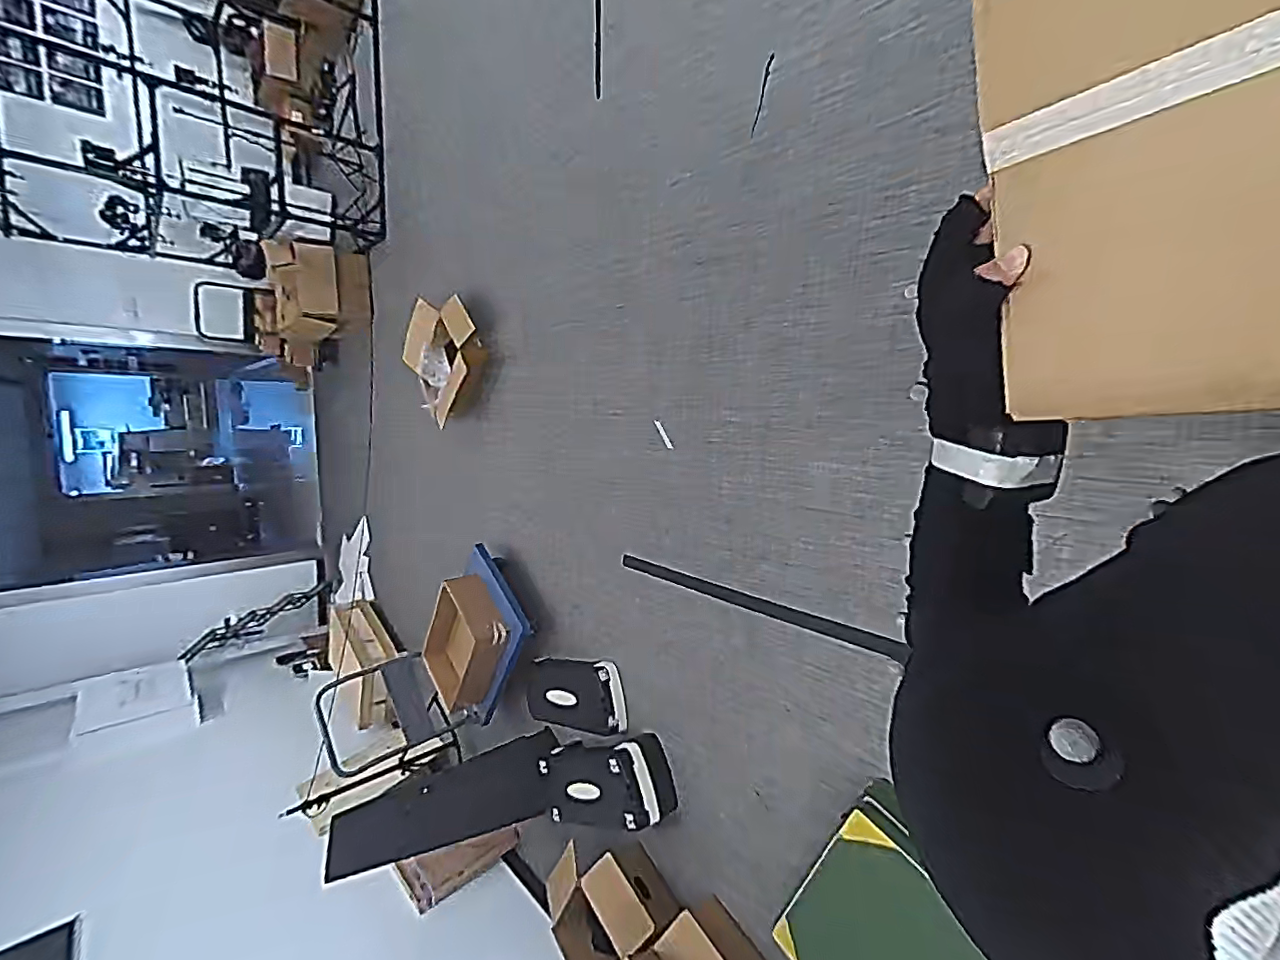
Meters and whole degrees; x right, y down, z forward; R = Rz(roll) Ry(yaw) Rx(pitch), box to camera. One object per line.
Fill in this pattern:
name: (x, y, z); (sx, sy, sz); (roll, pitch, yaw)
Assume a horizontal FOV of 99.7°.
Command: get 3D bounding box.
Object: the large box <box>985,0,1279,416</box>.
large box: (0.443, -0.228, 0.251); (0.408, 0.320, 0.320); (3, 111, 50)
